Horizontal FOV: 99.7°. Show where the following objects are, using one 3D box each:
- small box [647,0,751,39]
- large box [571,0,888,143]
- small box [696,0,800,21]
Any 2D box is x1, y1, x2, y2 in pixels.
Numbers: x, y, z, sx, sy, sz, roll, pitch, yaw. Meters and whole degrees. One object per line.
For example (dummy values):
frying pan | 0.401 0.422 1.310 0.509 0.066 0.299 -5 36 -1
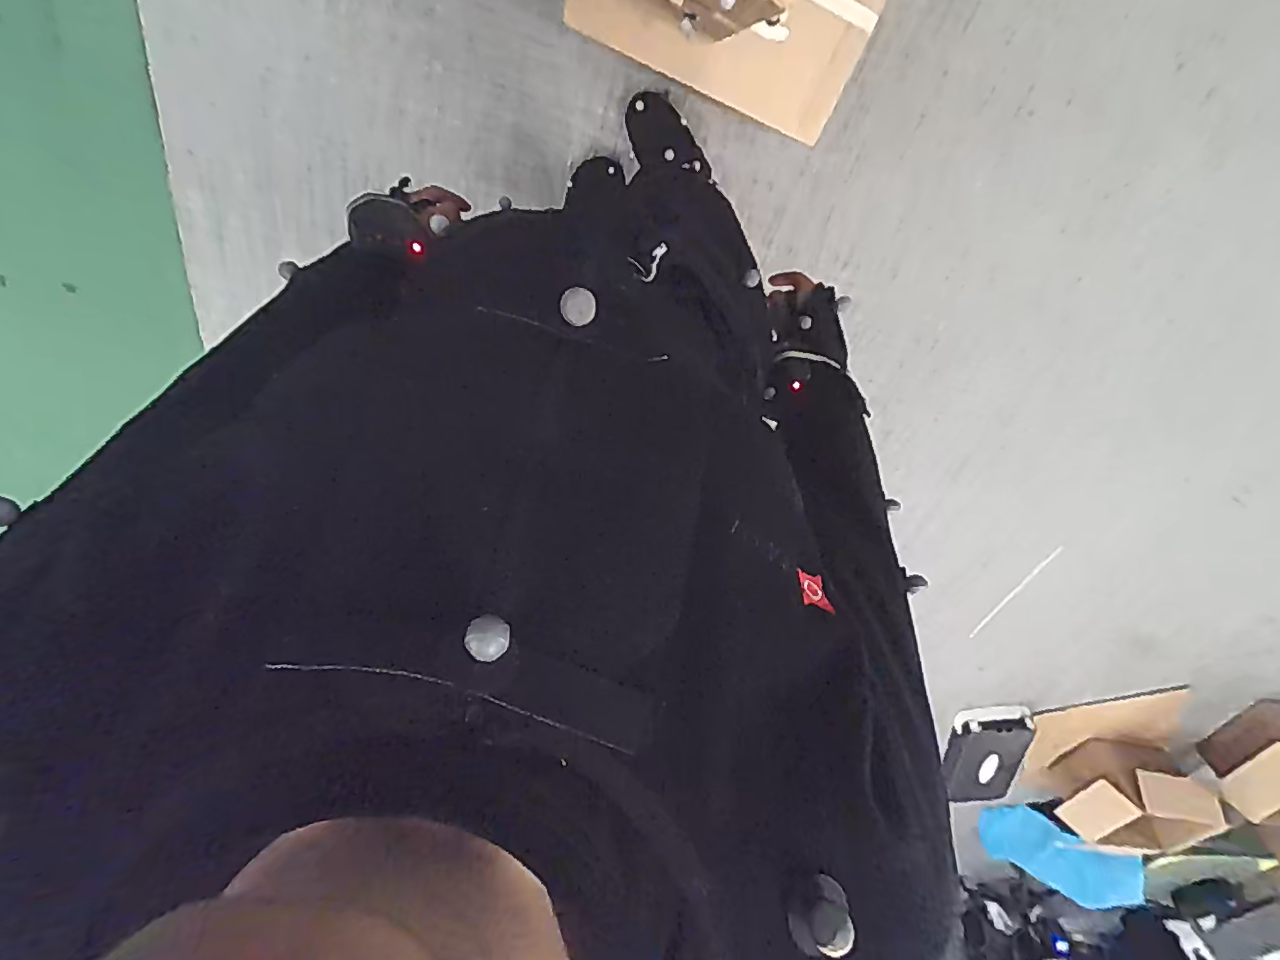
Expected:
small box | 0.053 -0.536 0.484 0.168 0.176 0.179 18 123 -16
large box | 0.135 -0.769 0.818 0.408 0.320 0.320 16 125 -13
small box | 0.055 -0.440 0.352 0.179 0.176 0.168 20 123 -17
